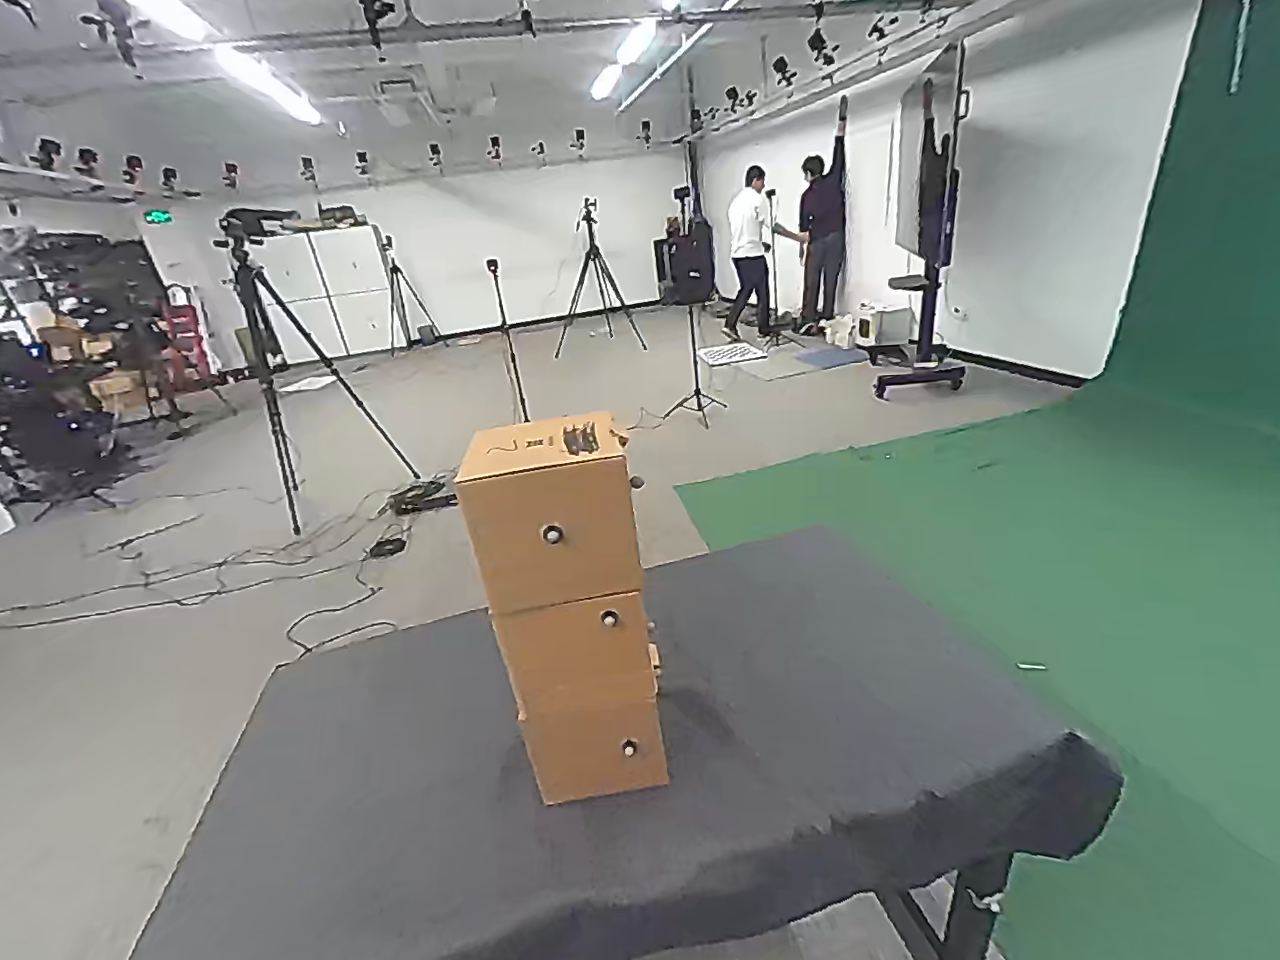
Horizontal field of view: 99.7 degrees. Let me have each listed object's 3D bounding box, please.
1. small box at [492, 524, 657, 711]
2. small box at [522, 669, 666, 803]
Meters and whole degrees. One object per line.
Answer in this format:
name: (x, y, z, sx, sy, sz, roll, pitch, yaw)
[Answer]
small box: (-0.080, 0.180, 0.717, 0.179, 0.176, 0.168, -8, 24, -3)
small box: (-0.059, 0.328, 0.781, 0.179, 0.176, 0.168, -10, 24, -2)
